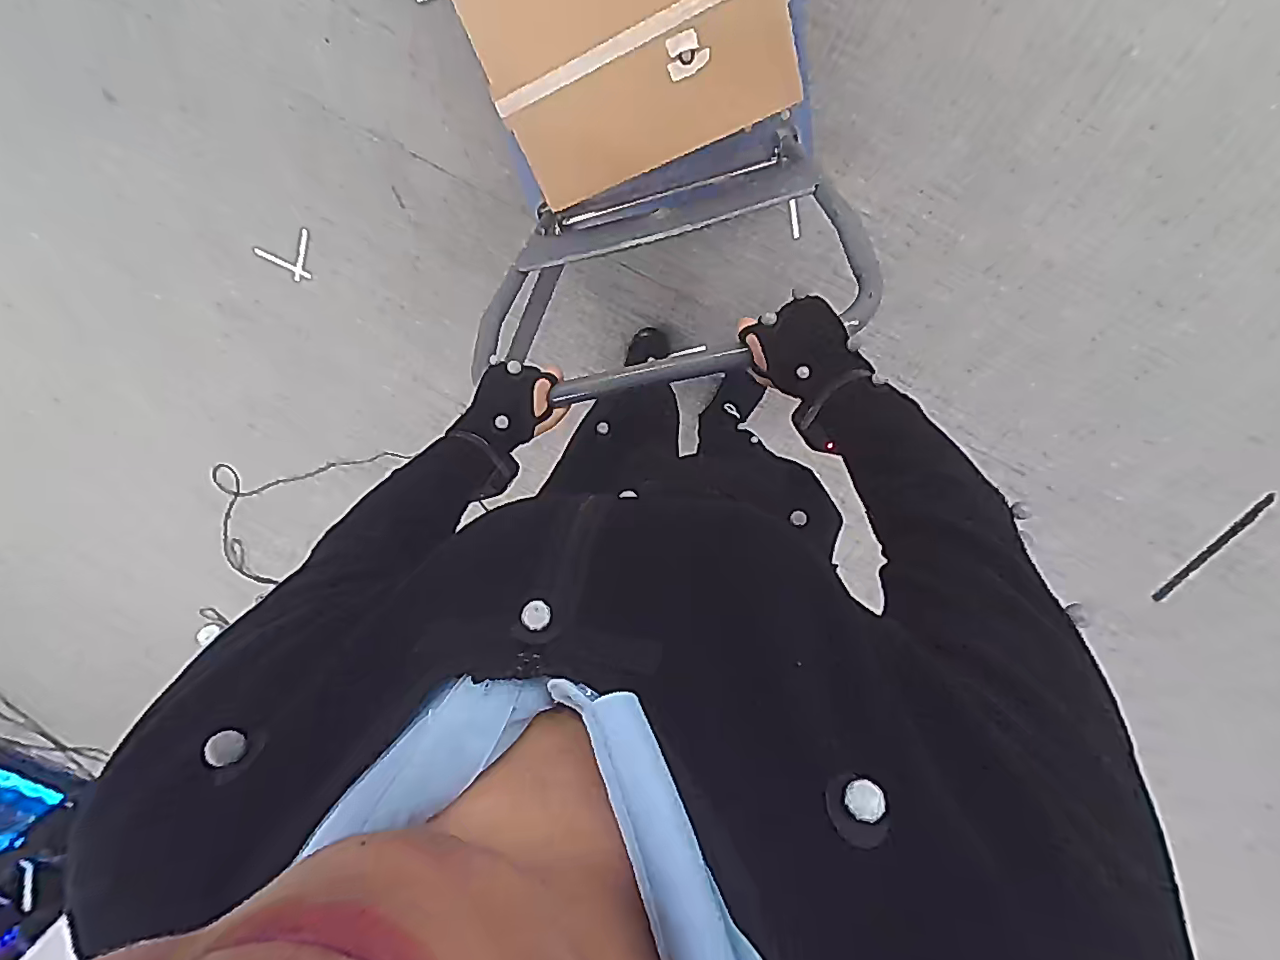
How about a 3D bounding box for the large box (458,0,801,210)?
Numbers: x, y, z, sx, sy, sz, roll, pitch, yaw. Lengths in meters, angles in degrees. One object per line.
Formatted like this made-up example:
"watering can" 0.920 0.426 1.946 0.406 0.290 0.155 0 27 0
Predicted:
"large box" -0.003 -0.695 0.856 0.408 0.320 0.320 -17 126 17
